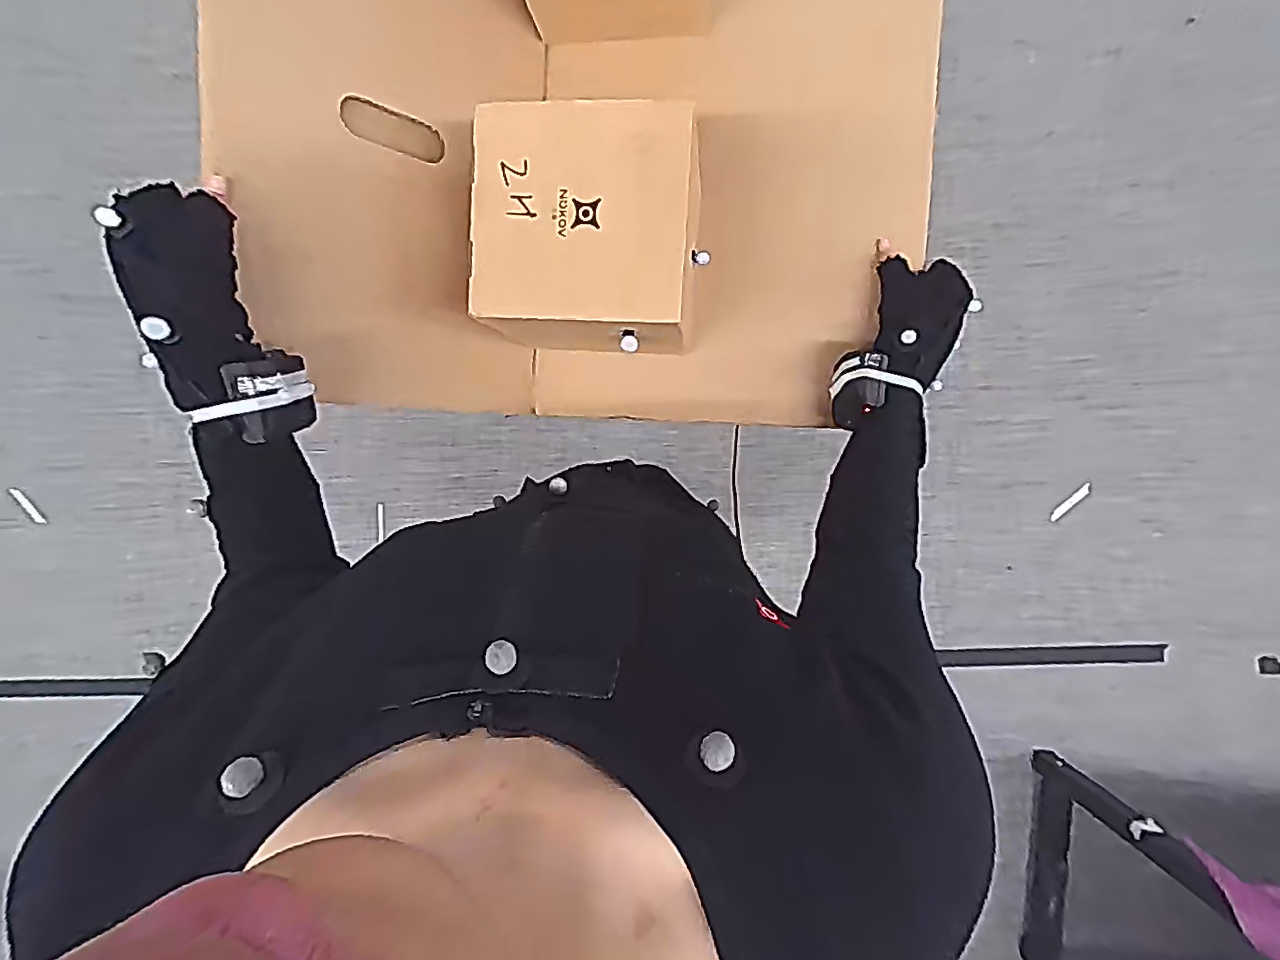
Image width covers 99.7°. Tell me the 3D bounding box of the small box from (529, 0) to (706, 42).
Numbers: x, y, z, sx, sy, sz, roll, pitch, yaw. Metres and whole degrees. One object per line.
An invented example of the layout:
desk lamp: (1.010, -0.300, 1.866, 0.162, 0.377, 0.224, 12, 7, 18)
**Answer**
small box: (-0.028, -0.538, 0.486, 0.179, 0.176, 0.168, 2, 94, 7)

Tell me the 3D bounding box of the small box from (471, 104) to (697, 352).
small box: (-0.039, -0.219, 0.510, 0.179, 0.176, 0.168, 5, 95, 8)
